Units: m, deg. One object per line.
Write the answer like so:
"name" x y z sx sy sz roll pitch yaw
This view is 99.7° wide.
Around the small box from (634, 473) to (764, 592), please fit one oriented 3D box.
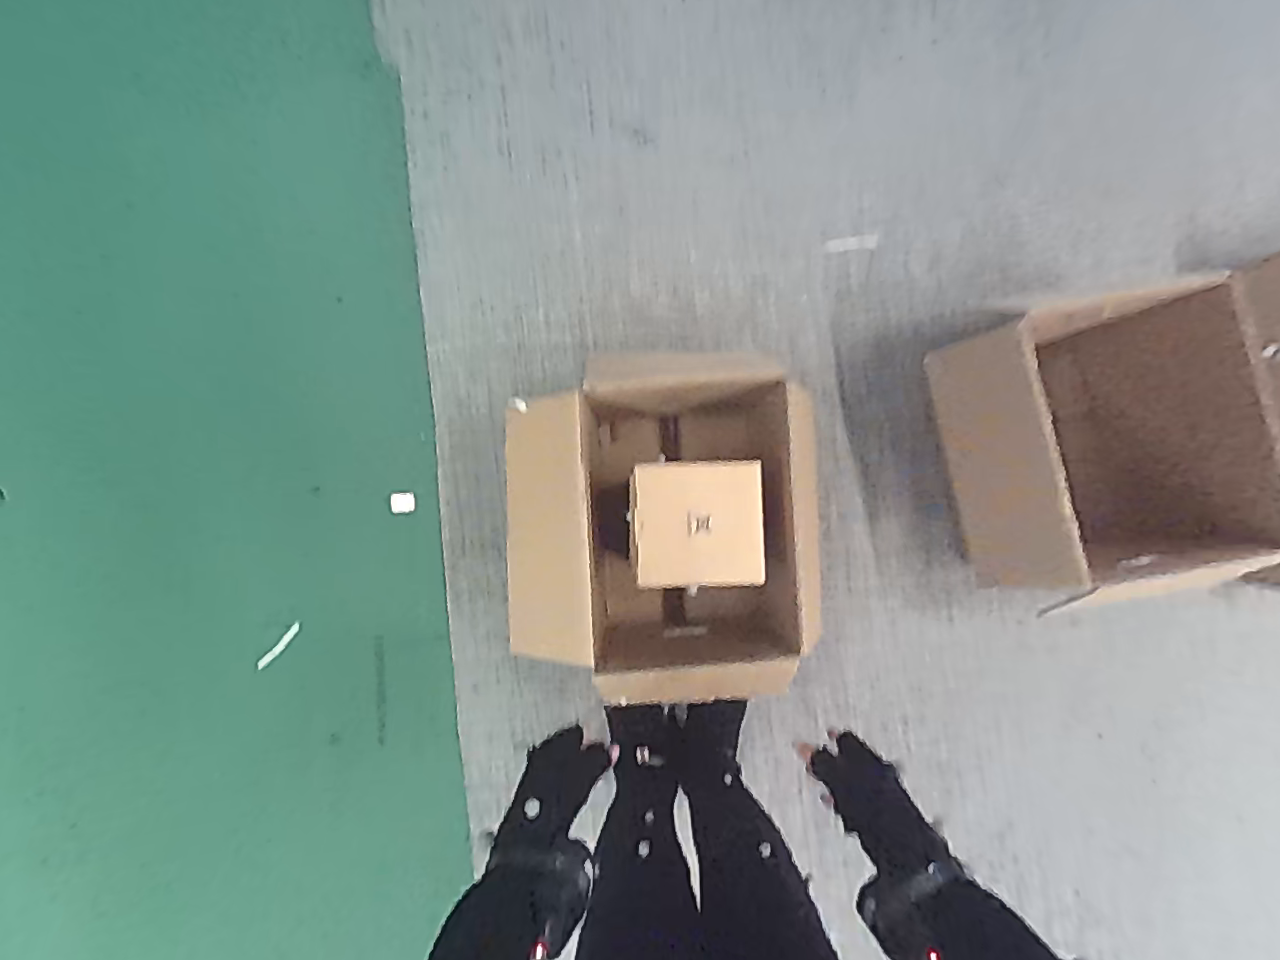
"small box" 0.081 0.076 0.826 0.179 0.176 0.168 -2 86 -1
